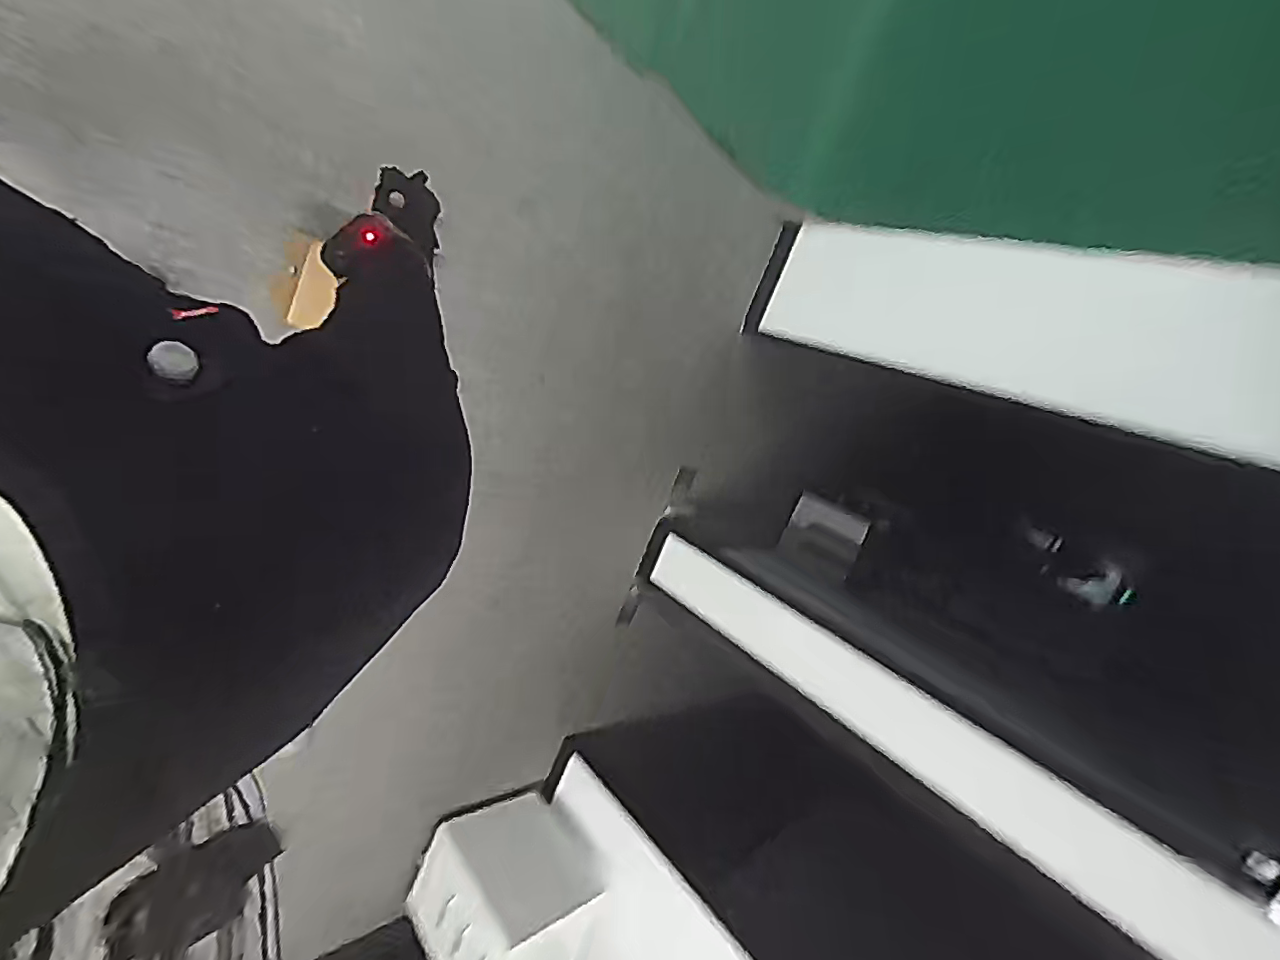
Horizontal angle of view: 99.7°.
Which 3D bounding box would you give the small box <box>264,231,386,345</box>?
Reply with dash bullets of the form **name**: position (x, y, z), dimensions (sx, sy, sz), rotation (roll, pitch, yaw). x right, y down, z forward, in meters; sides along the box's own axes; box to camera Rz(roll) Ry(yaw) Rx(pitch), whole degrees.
- **small box**: position (-0.696, -0.424, 1.188), dimensions (0.168, 0.176, 0.179), rotation (15, 102, -50)
